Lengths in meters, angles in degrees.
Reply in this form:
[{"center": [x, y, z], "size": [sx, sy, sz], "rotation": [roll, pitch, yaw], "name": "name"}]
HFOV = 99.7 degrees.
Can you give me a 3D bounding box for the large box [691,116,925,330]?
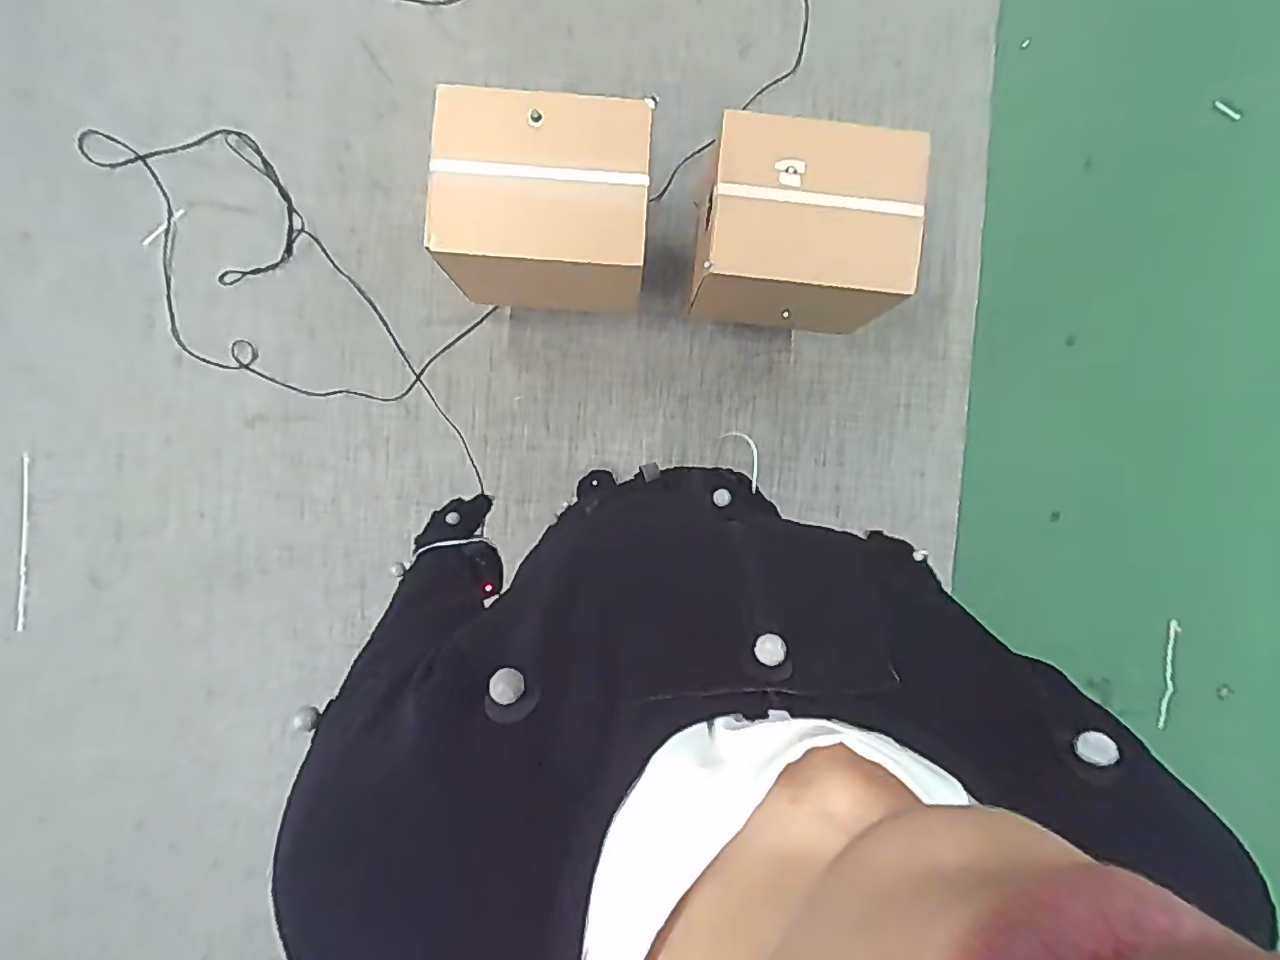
[{"center": [0.341, -0.534, 1.191], "size": [0.408, 0.320, 0.320], "rotation": [6, 90, -2], "name": "large box"}]
